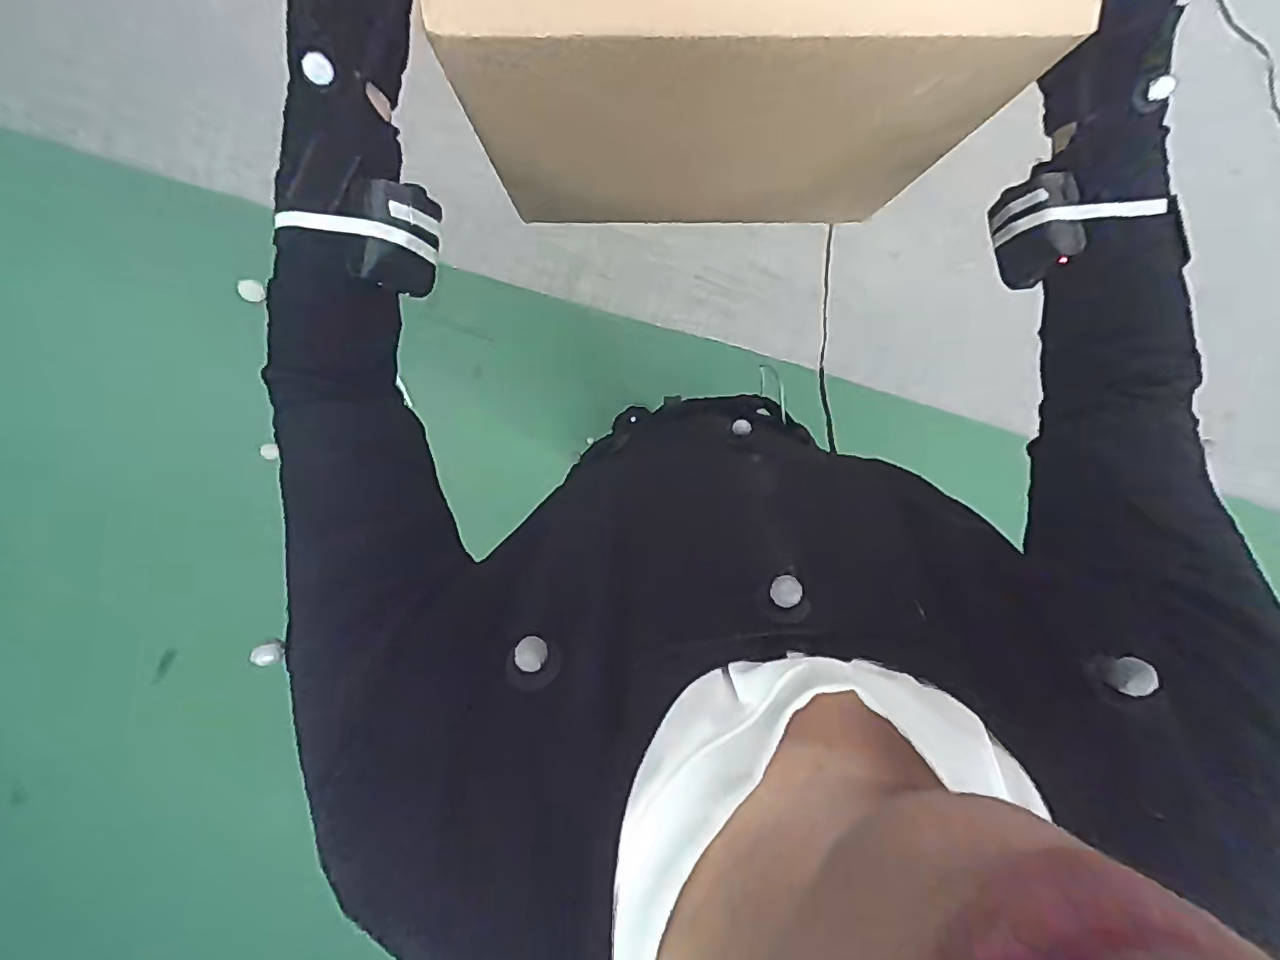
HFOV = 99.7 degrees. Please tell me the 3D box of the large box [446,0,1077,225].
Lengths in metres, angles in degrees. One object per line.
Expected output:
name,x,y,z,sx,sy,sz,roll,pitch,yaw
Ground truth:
large box,0.067,-0.437,0.468,0.408,0.320,0.320,-1,96,-3
